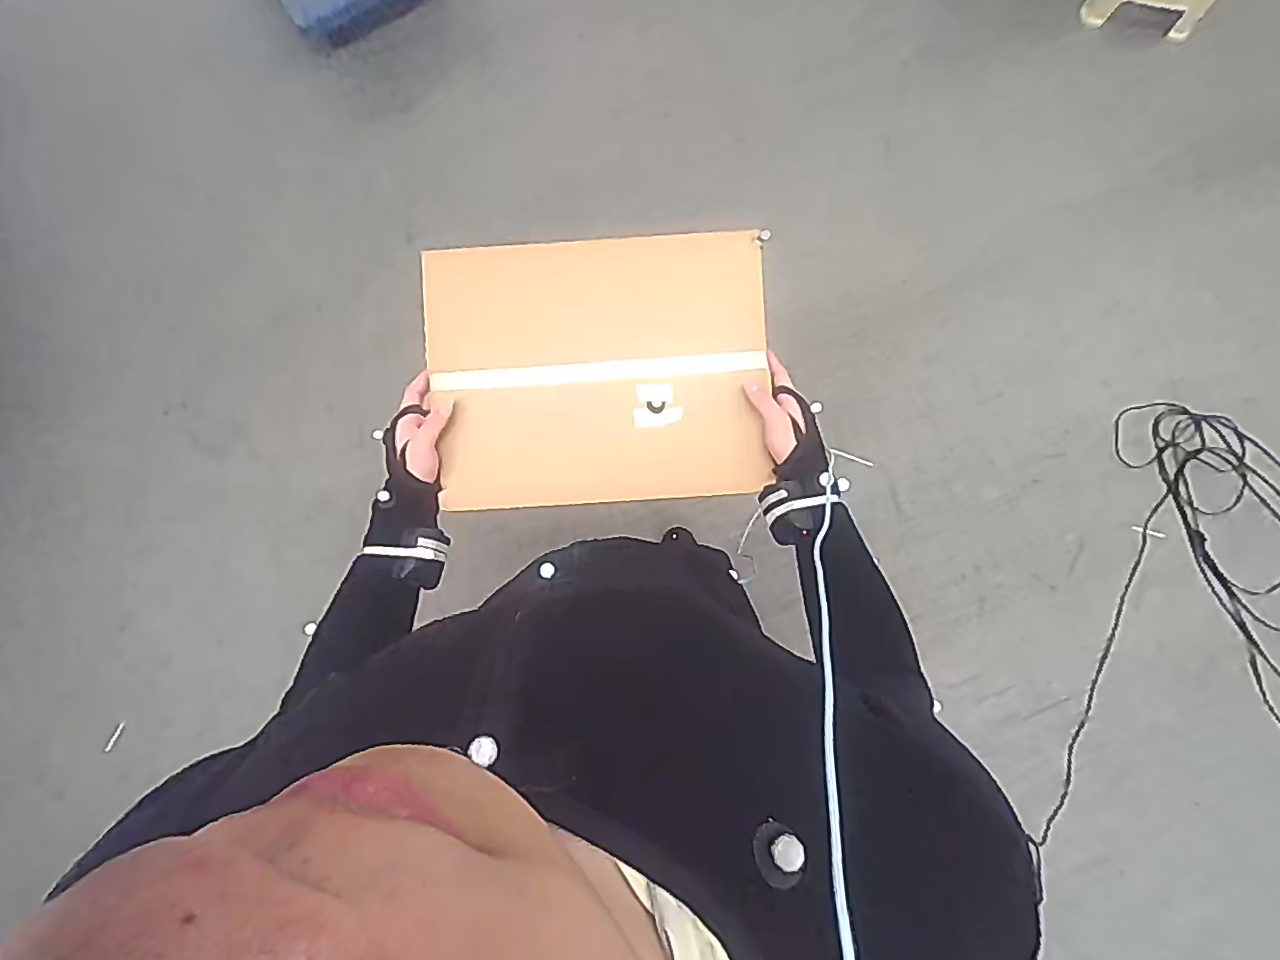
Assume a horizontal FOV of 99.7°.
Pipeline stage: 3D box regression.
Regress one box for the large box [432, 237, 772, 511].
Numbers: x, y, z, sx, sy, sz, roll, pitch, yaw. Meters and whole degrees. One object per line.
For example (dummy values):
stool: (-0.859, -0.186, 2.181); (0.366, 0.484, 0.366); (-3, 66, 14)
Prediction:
large box: (-0.049, -0.130, 0.808); (0.408, 0.320, 0.320); (-4, 91, 0)
